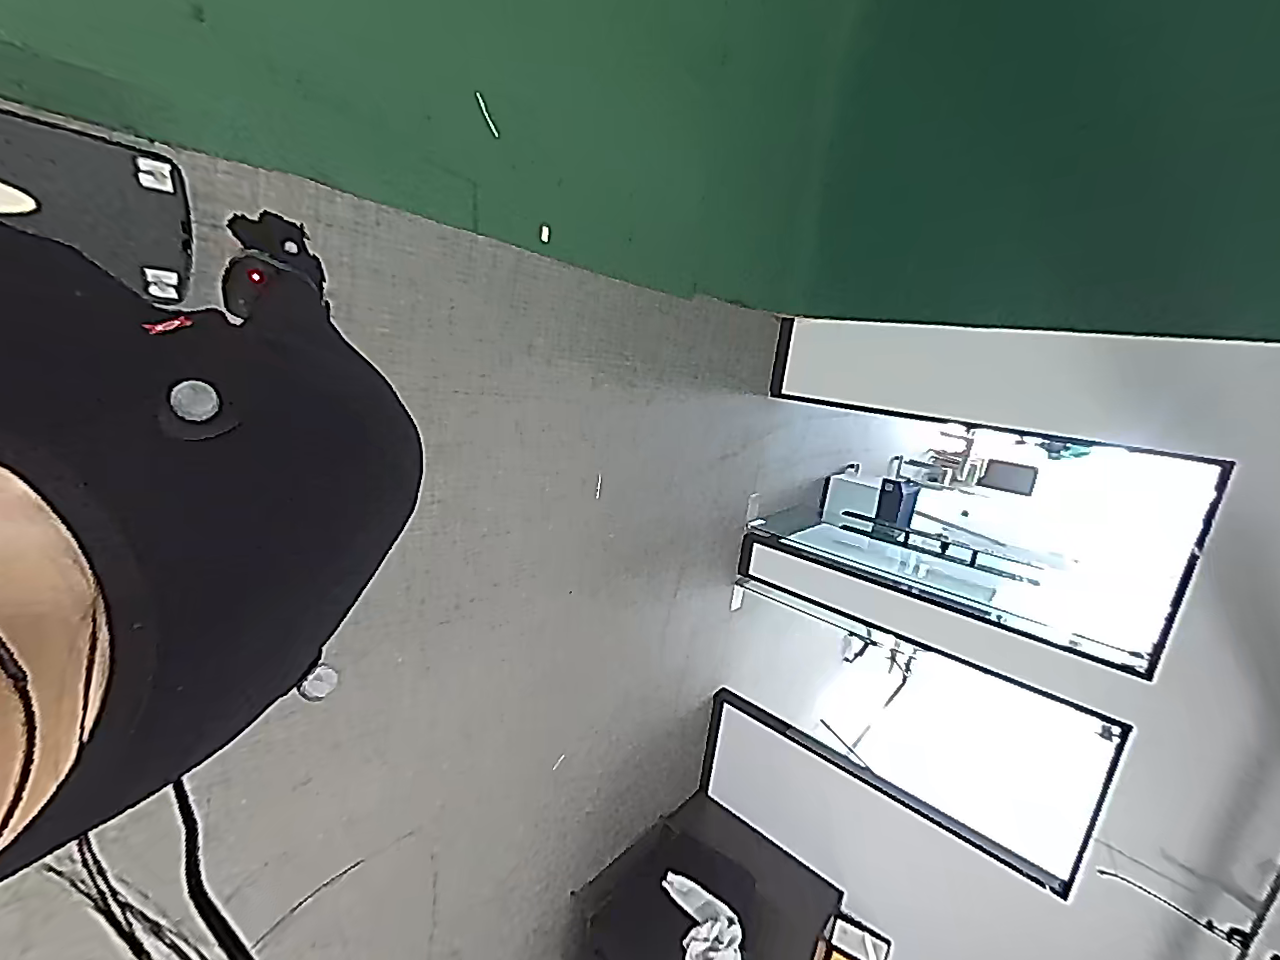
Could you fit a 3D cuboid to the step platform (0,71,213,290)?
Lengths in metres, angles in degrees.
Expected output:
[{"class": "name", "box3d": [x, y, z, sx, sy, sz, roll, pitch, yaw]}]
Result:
[{"class": "step platform", "box3d": [-1.016, -0.454, 0.719, 0.684, 0.204, 0.286, -7, 110, -49]}]
